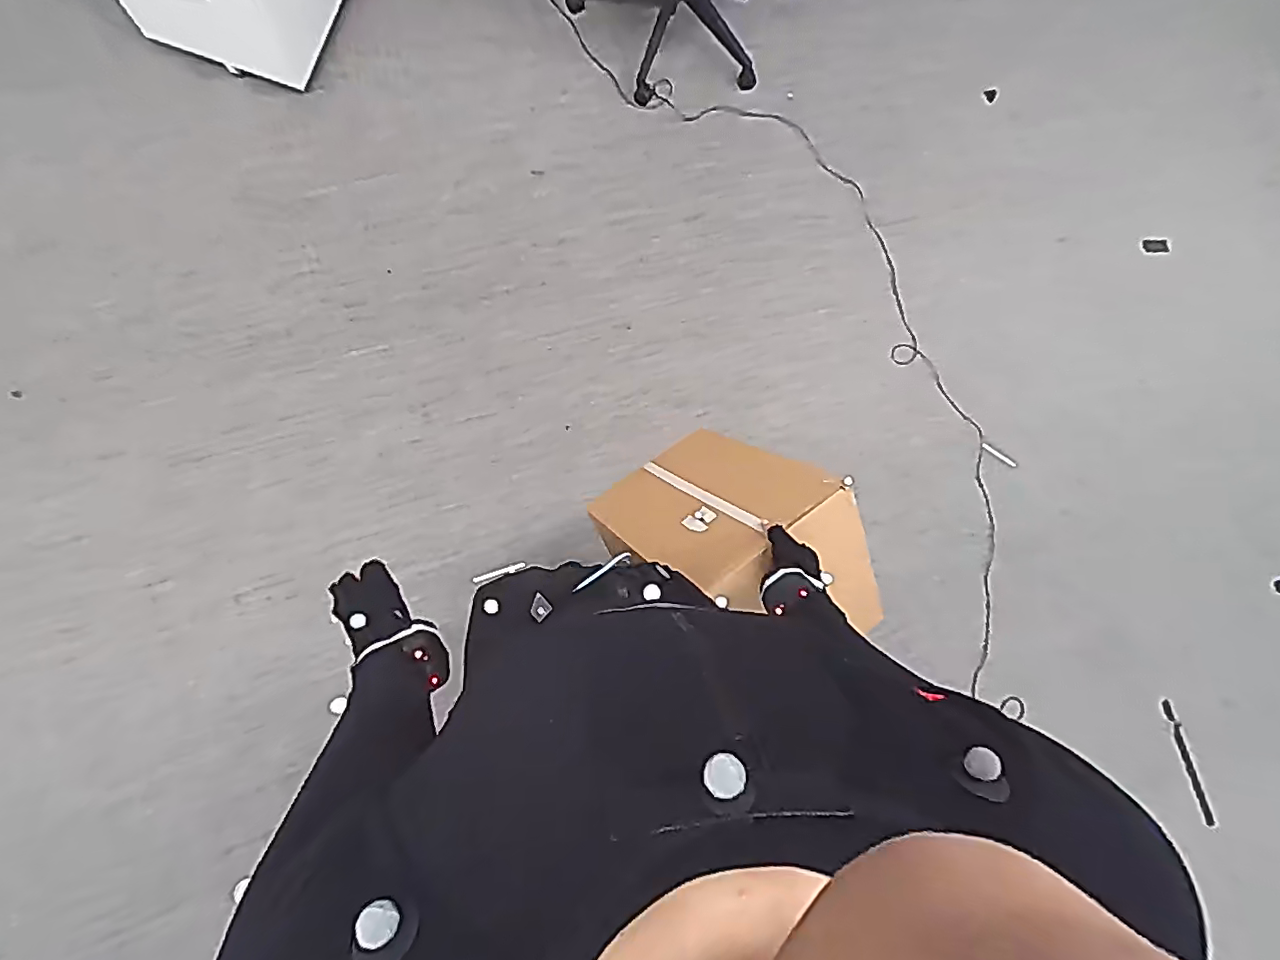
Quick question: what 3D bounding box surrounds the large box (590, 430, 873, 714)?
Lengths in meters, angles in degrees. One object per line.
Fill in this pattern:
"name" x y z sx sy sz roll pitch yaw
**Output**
"large box" 0.165 0.146 1.040 0.320 0.408 0.320 -34 121 -15
